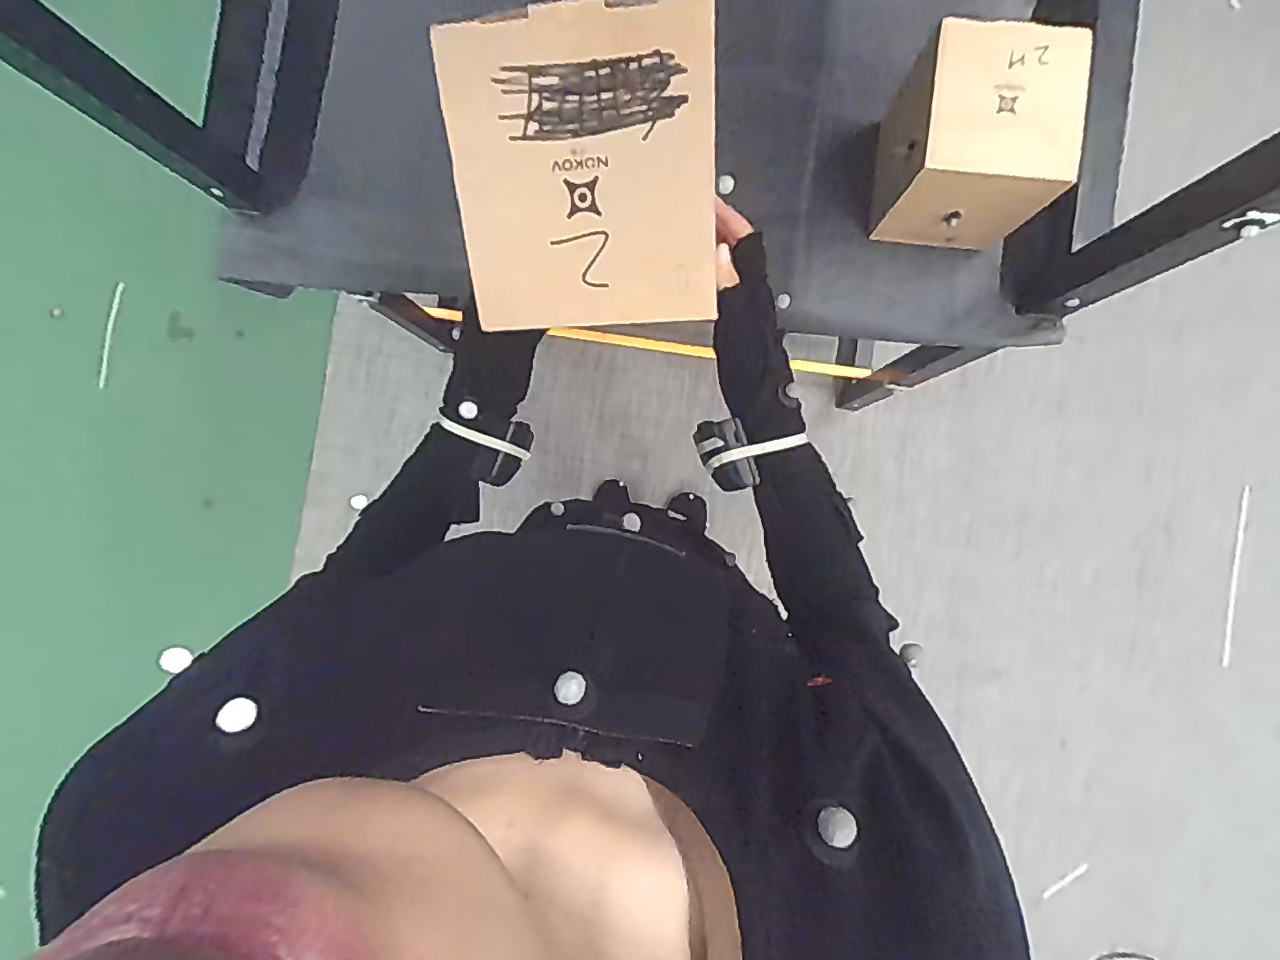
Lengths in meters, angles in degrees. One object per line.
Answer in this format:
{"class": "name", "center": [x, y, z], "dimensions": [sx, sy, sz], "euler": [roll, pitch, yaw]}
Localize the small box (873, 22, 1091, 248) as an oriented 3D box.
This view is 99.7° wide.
{"class": "small box", "center": [0.410, -0.415, 0.679], "dimensions": [0.168, 0.176, 0.179], "euler": [7, 88, 2]}
